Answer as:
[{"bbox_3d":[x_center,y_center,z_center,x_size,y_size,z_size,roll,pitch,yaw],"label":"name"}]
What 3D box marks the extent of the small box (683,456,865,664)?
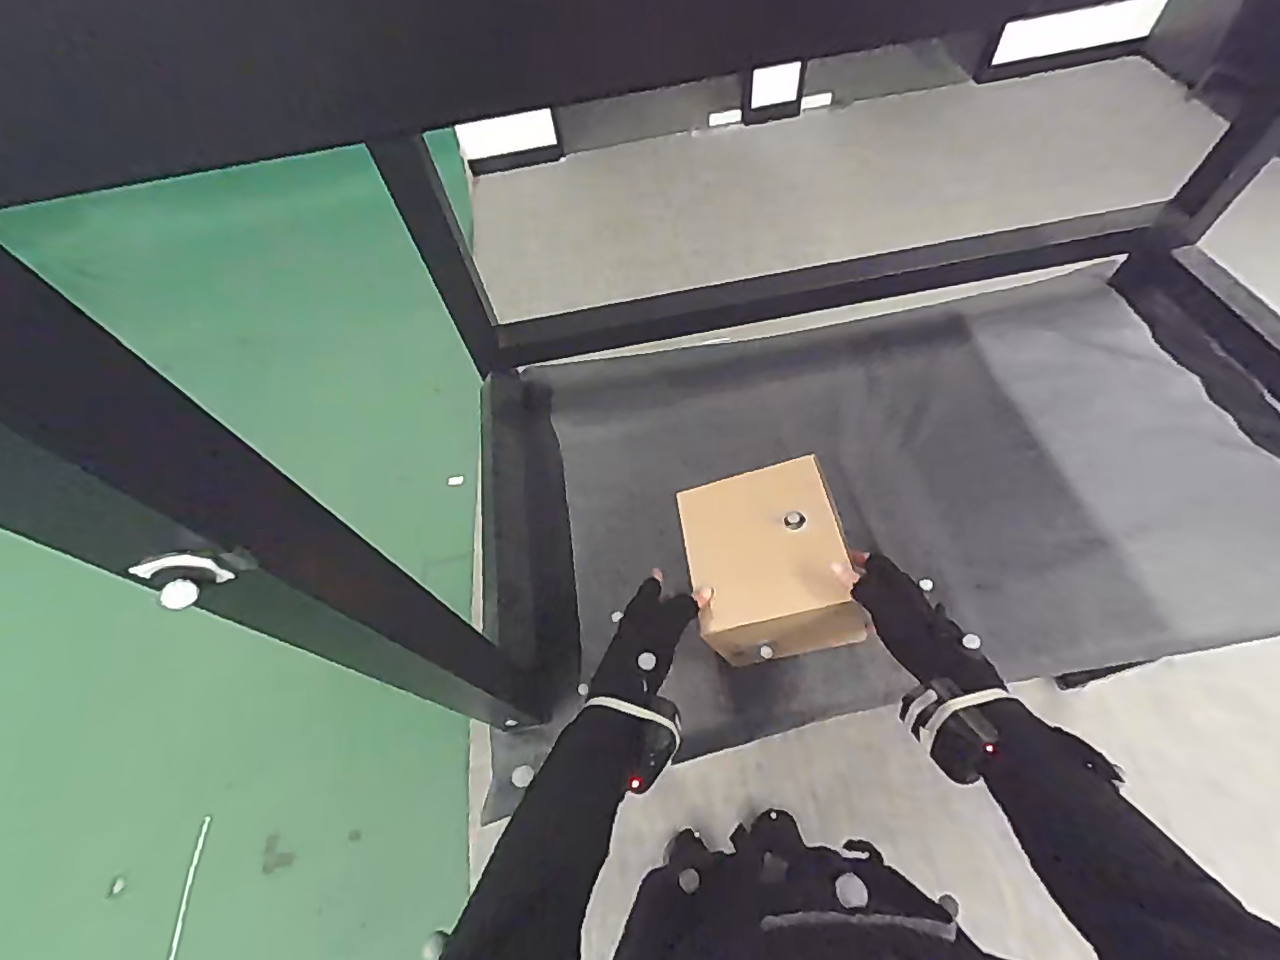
[{"bbox_3d":[0.157,0.103,0.651,0.176,0.168,0.179,-17,55,15],"label":"small box"}]
